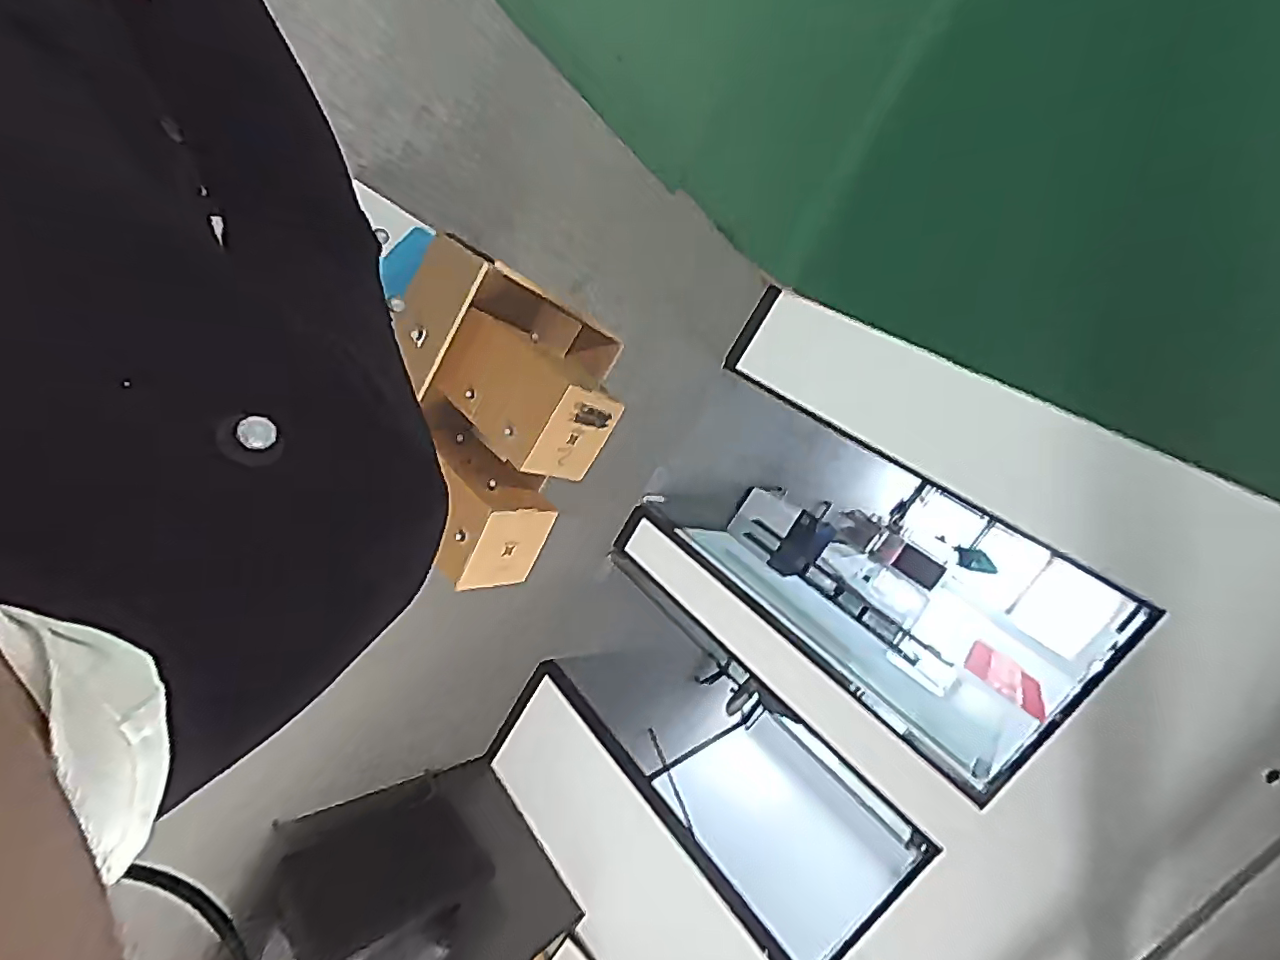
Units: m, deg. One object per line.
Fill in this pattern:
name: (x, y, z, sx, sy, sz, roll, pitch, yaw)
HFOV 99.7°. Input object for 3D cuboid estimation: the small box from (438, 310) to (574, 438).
small box: (-0.272, -0.213, 1.085, 0.168, 0.176, 0.179, 12, 116, -56)

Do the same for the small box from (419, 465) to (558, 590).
small box: (-0.298, 0.087, 1.049, 0.168, 0.176, 0.179, 7, 117, -54)
